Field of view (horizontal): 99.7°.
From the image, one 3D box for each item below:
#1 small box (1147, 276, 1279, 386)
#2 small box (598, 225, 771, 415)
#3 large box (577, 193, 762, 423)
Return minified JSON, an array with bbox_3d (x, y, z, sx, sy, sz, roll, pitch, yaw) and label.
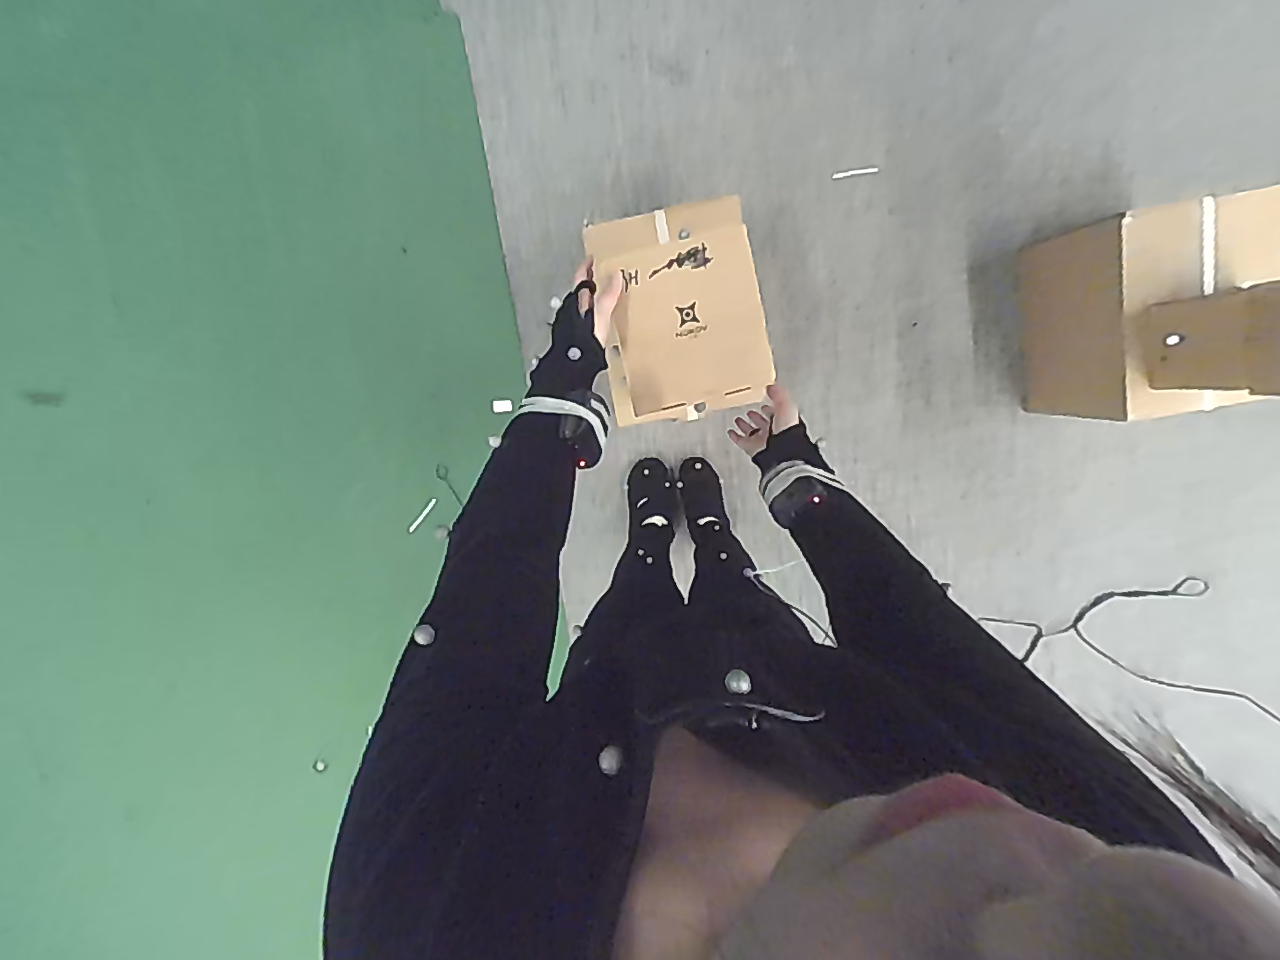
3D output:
[{"bbox_3d":[1.084,-0.271,0.980,0.179,0.176,0.168,-11,101,4],"label":"small box"},{"bbox_3d":[0.054,-0.190,0.675,0.168,0.176,0.179,-13,100,3],"label":"small box"},{"bbox_3d":[0.068,-0.360,1.226,0.320,0.320,0.408,-10,100,3],"label":"large box"}]
